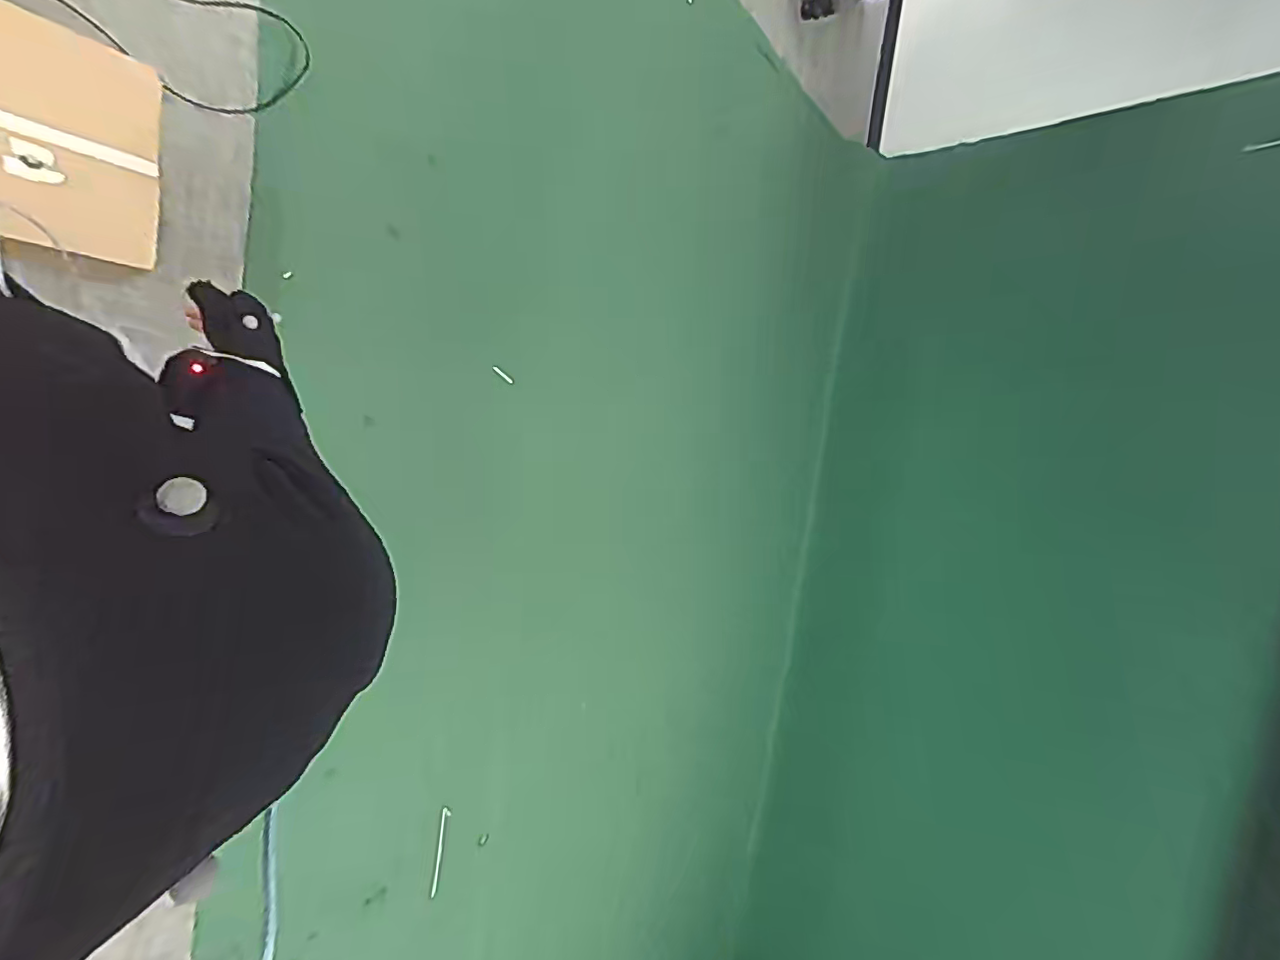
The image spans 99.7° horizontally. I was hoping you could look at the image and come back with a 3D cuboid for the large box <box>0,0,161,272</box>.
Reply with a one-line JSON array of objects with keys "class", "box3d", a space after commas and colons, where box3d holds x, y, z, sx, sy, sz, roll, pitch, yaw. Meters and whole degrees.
[{"class": "large box", "box3d": [-1.017, -0.534, 0.810, 0.408, 0.320, 0.320, 1, 99, -51]}]
